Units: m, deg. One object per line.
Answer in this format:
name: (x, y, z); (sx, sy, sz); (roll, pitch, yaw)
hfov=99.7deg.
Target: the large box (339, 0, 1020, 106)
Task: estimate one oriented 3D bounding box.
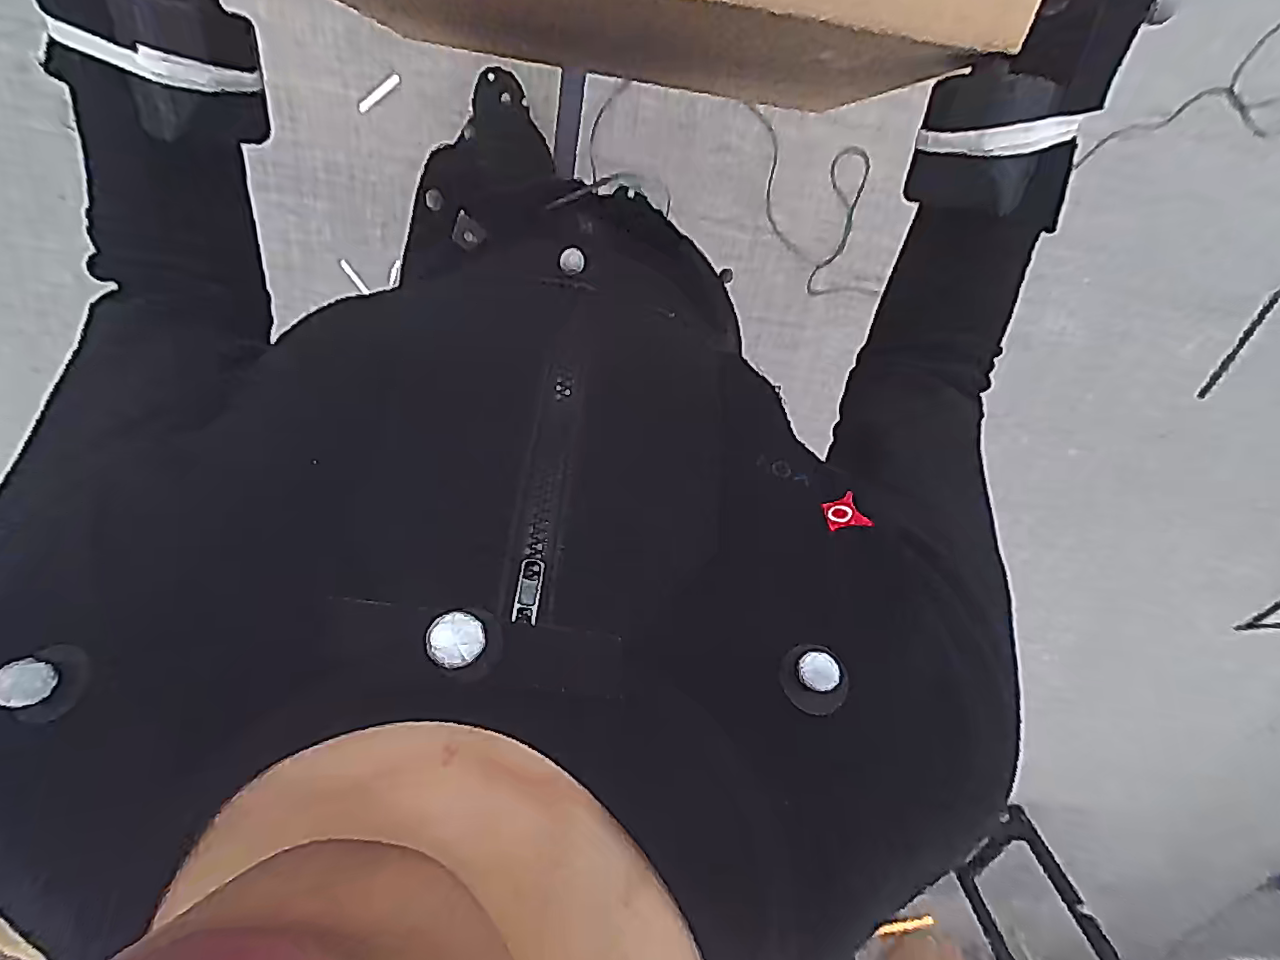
large box: (0.001, -0.441, 0.311); (0.408, 0.320, 0.320); (6, 121, -5)
